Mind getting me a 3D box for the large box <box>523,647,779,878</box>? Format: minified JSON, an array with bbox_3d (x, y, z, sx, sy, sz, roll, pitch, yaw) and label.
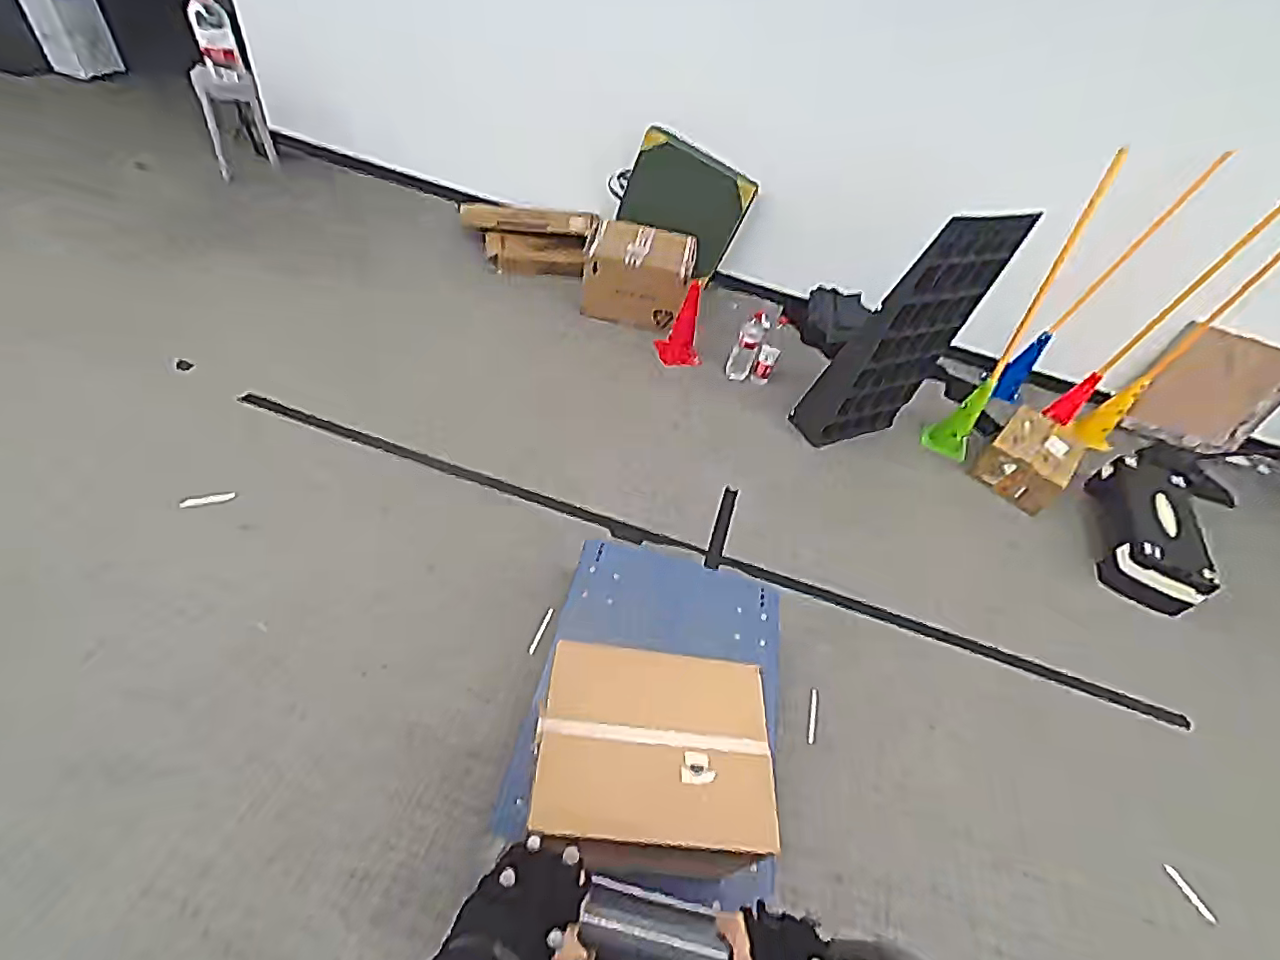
[{"bbox_3d":[0.002,0.555,1.047,0.408,0.320,0.320,10,47,-7],"label":"large box"}]
